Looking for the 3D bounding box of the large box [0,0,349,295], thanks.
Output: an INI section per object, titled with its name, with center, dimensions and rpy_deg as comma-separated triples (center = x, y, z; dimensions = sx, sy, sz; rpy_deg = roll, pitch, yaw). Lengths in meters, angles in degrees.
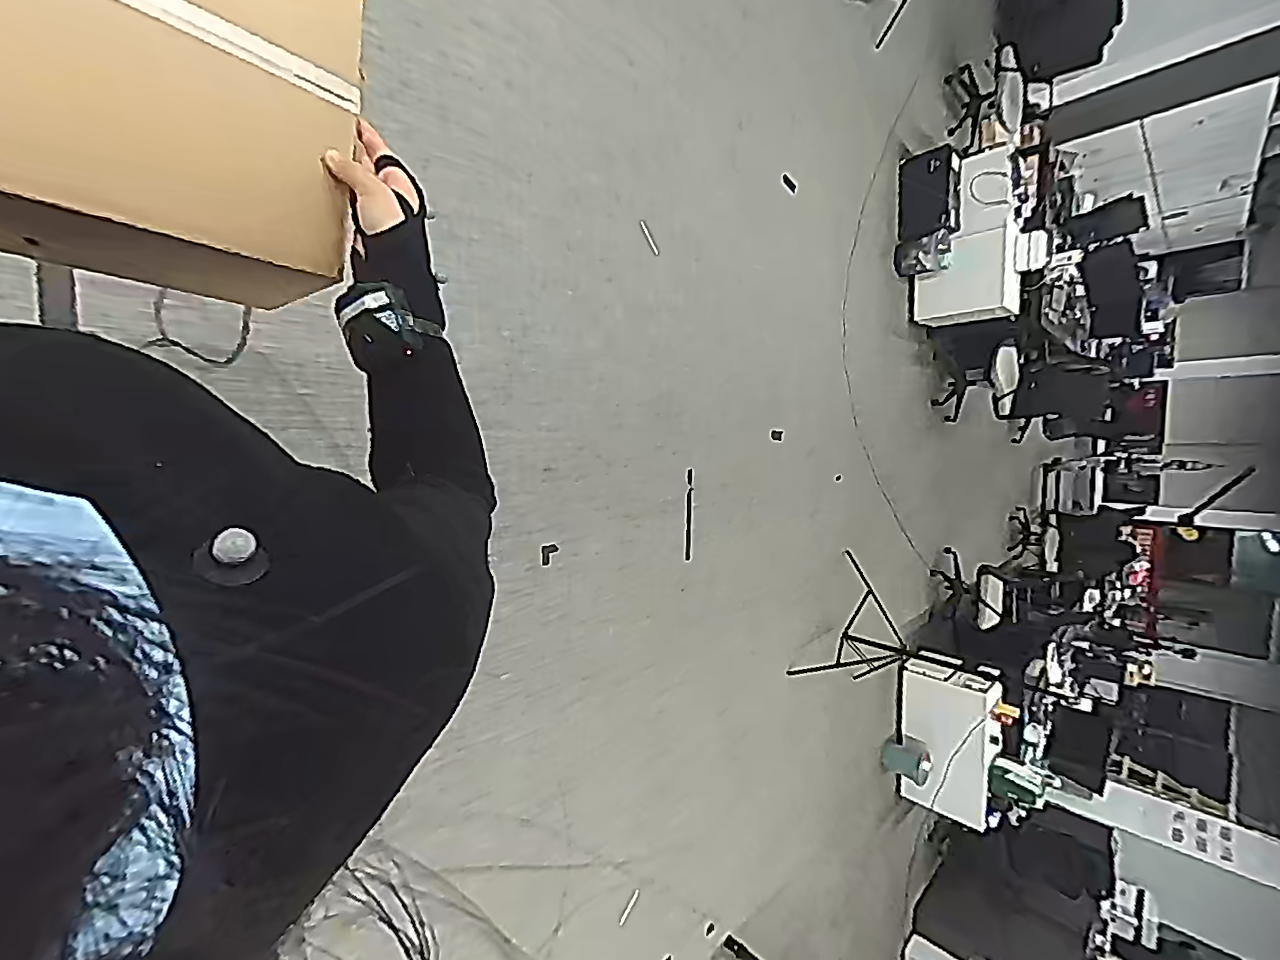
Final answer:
[large box]
center = -0.511, -0.370, 0.457
dimensions = 0.408, 0.320, 0.320
rpy_deg = 2, 96, -45
